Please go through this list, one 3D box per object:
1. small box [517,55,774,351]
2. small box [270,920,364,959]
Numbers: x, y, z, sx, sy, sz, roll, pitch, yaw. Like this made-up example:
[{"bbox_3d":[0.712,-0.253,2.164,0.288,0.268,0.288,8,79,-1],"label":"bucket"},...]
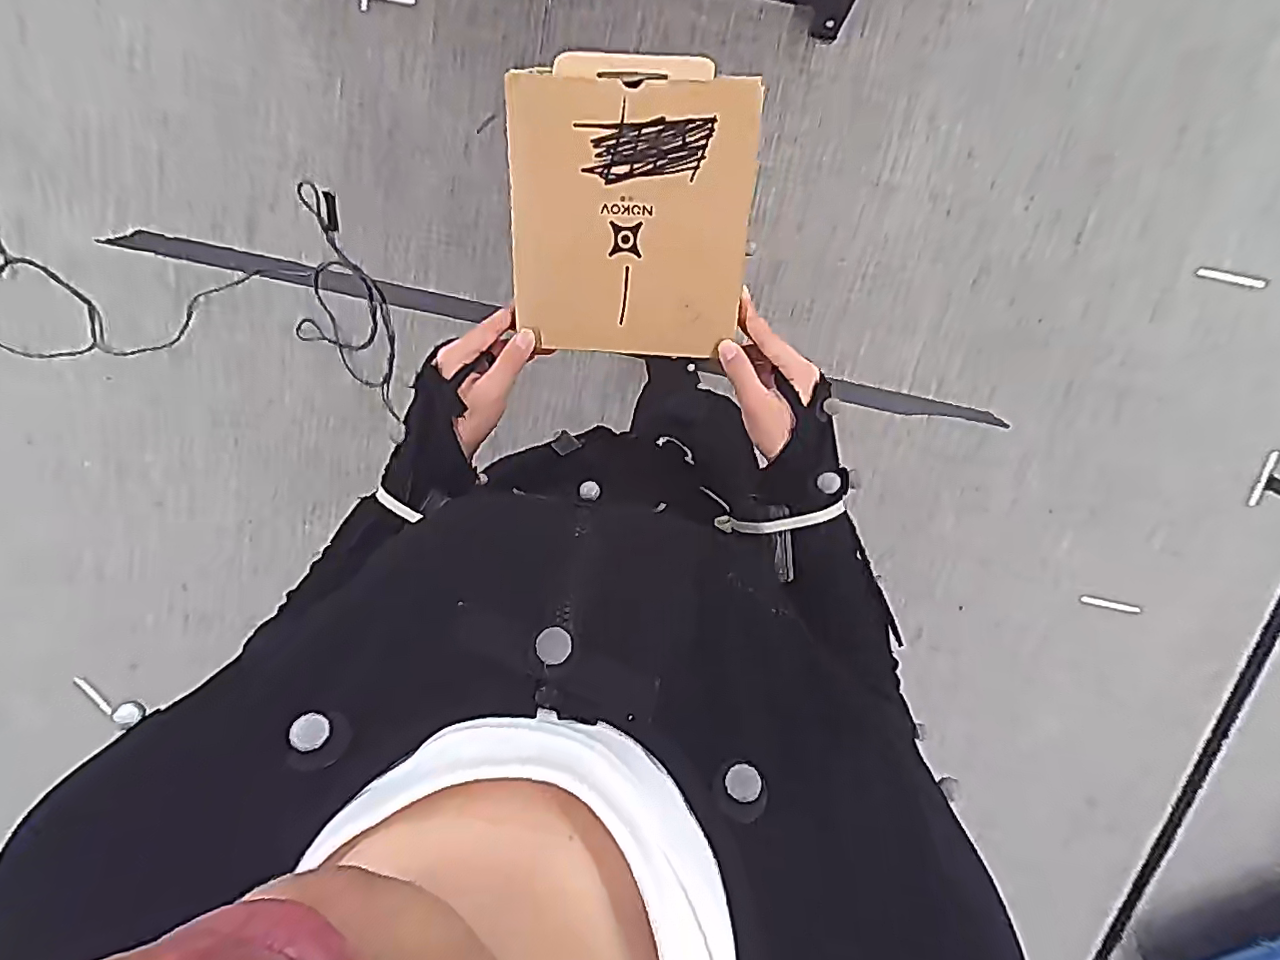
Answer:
[{"bbox_3d":[0.003,-0.209,0.442,0.168,0.176,0.179,5,112,4],"label":"small box"},{"bbox_3d":[-0.755,1.147,1.221,0.179,0.176,0.168,14,103,-1],"label":"small box"}]
